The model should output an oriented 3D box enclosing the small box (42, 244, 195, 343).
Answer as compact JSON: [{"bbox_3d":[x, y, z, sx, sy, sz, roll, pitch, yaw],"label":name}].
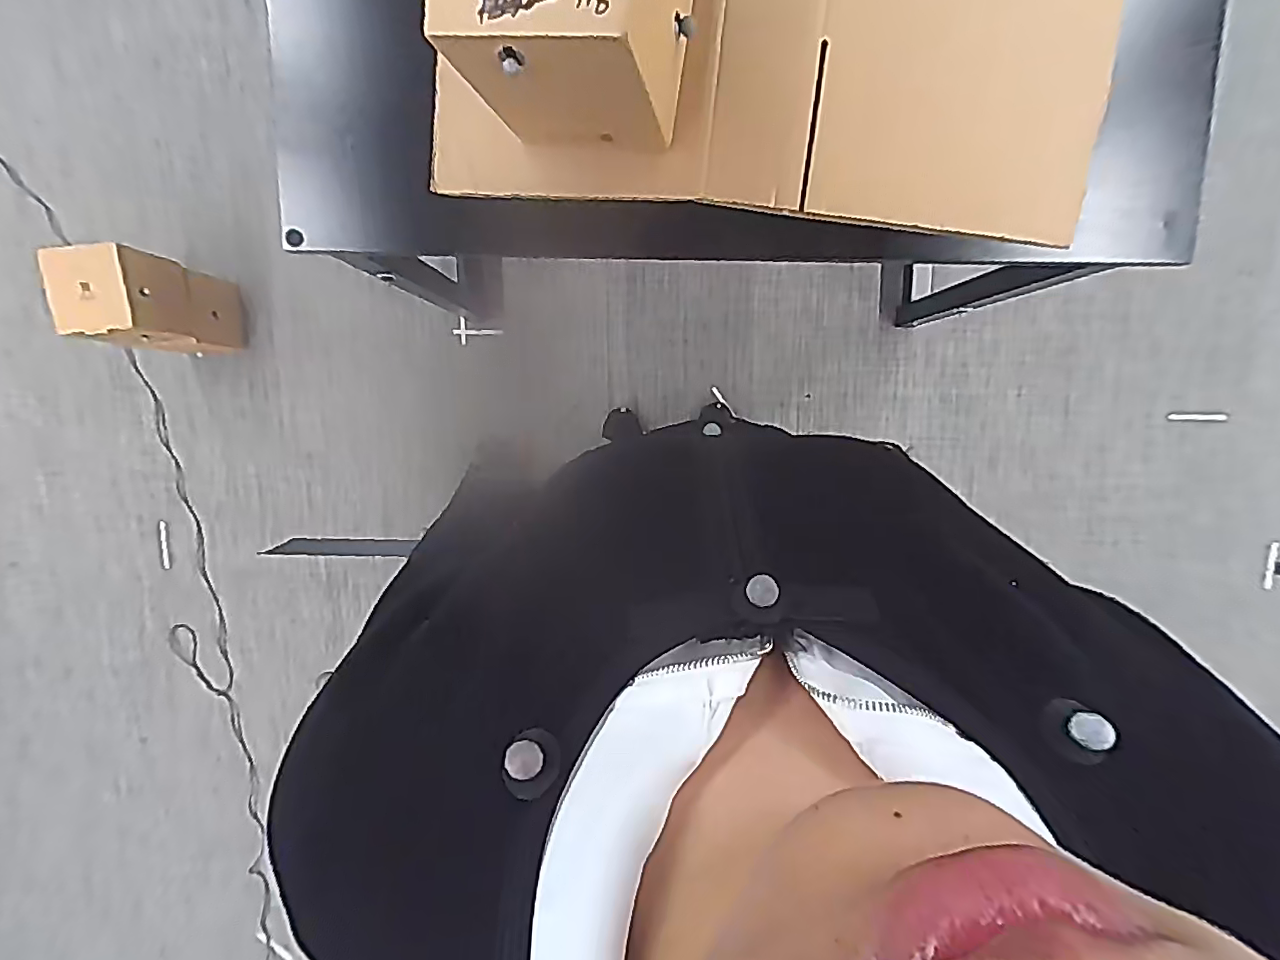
[{"bbox_3d":[-1.145,-0.405,1.204,0.168,0.176,0.179,-7,97,0],"label":"small box"}]

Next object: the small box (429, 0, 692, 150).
[{"bbox_3d":[-0.052,-0.422,0.466,0.168,0.176,0.179,11,98,13],"label":"small box"}]

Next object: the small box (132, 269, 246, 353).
[{"bbox_3d":[-1.143,-0.421,1.366,0.168,0.176,0.179,-3,98,1],"label":"small box"}]
